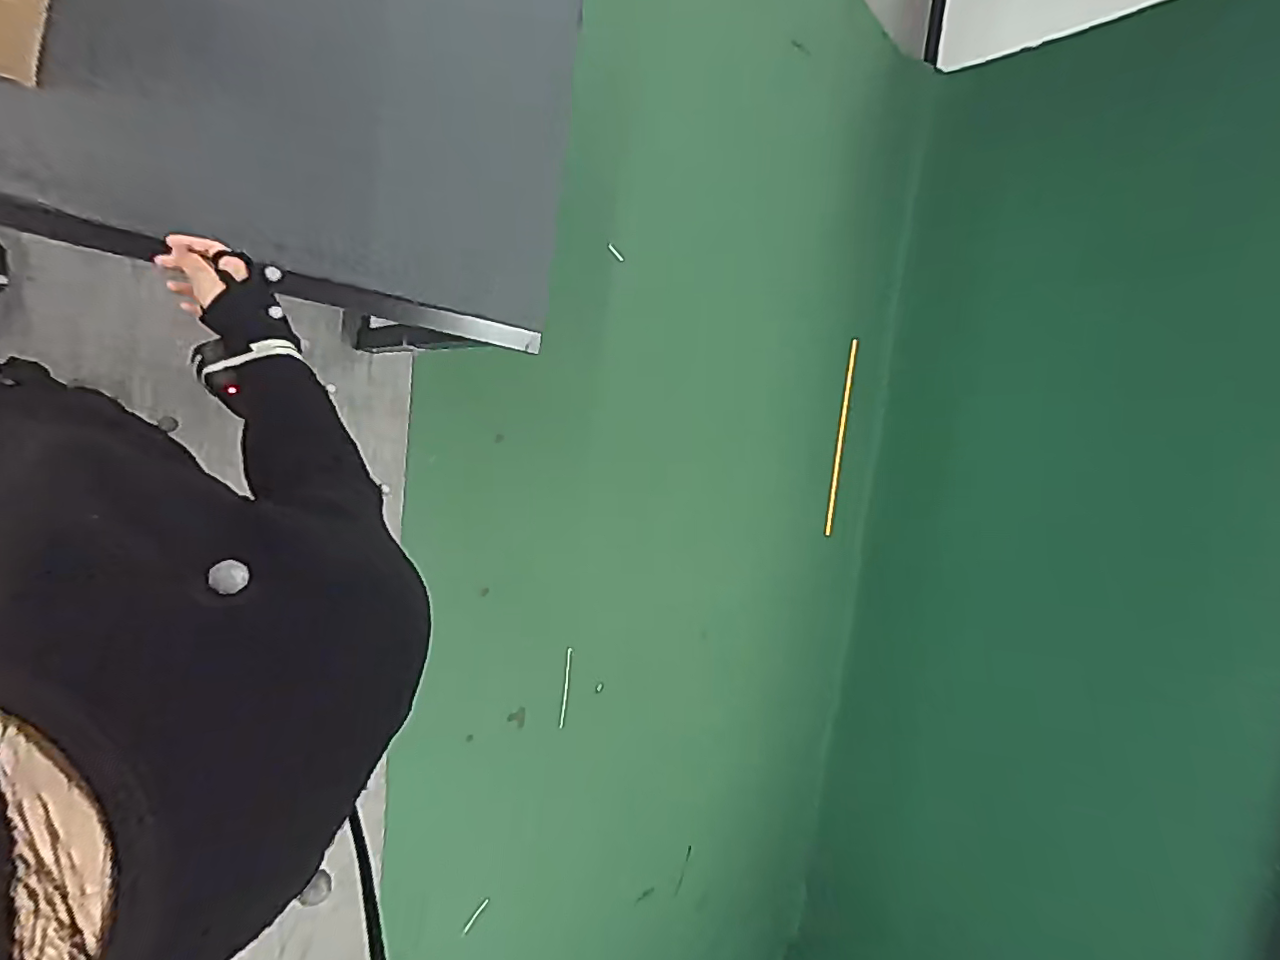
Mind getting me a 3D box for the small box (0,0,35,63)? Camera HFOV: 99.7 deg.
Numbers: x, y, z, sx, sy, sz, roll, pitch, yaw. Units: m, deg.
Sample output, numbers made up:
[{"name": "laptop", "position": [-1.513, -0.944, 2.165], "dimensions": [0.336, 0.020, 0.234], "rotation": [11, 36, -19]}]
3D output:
[{"name": "small box", "position": [-0.530, -0.444, 0.363], "dimensions": [0.168, 0.176, 0.179], "rotation": [11, 90, -46]}]
